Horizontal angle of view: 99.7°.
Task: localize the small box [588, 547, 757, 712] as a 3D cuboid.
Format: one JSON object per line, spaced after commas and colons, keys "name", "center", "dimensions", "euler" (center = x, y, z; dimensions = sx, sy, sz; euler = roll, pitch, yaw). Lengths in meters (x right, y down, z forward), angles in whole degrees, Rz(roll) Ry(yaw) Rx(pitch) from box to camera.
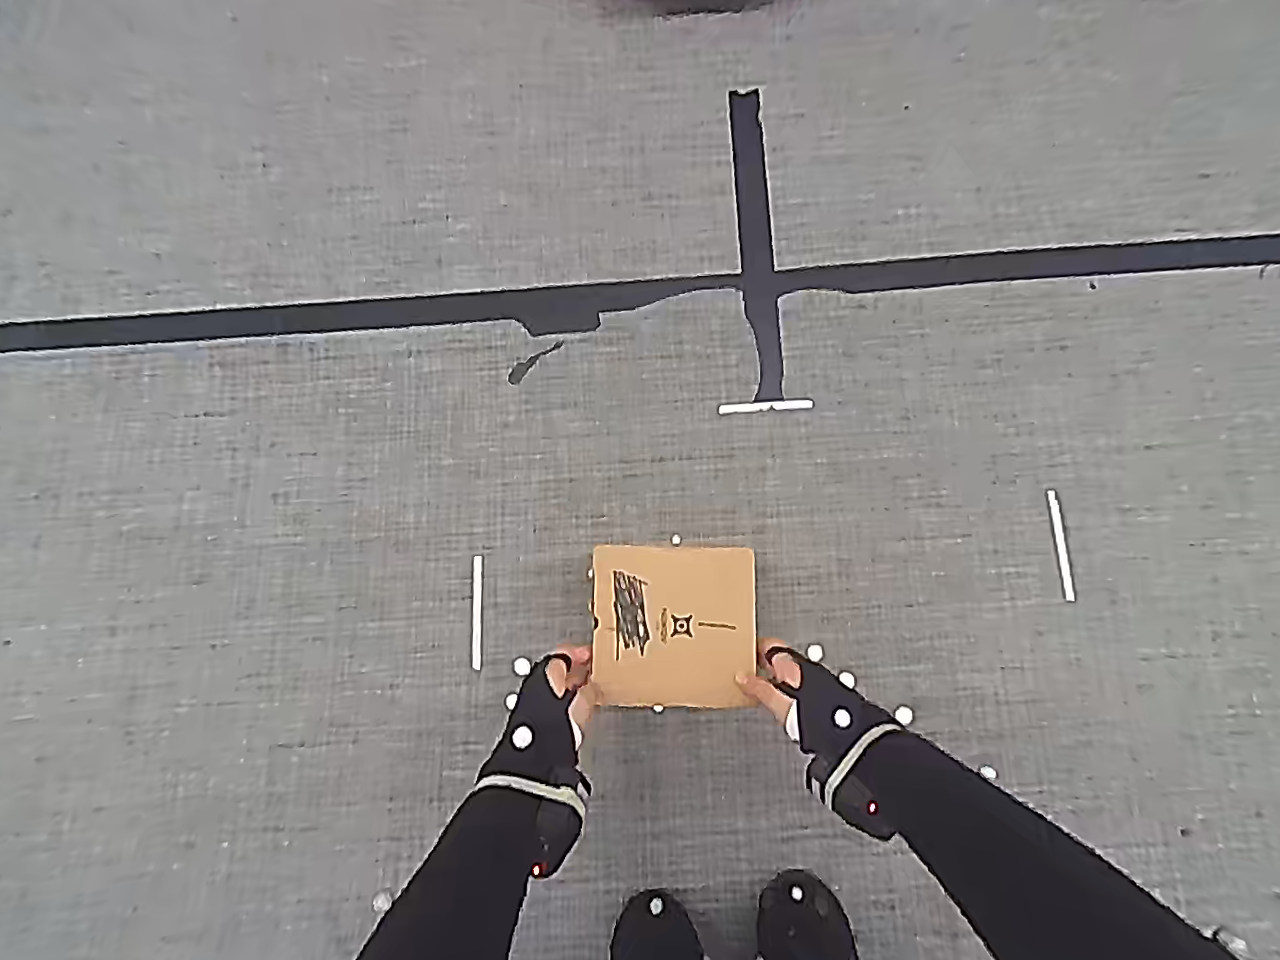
{"name": "small box", "center": [0.035, 0.169, 0.644], "dimensions": [0.179, 0.176, 0.168], "euler": [1, 80, -1]}
